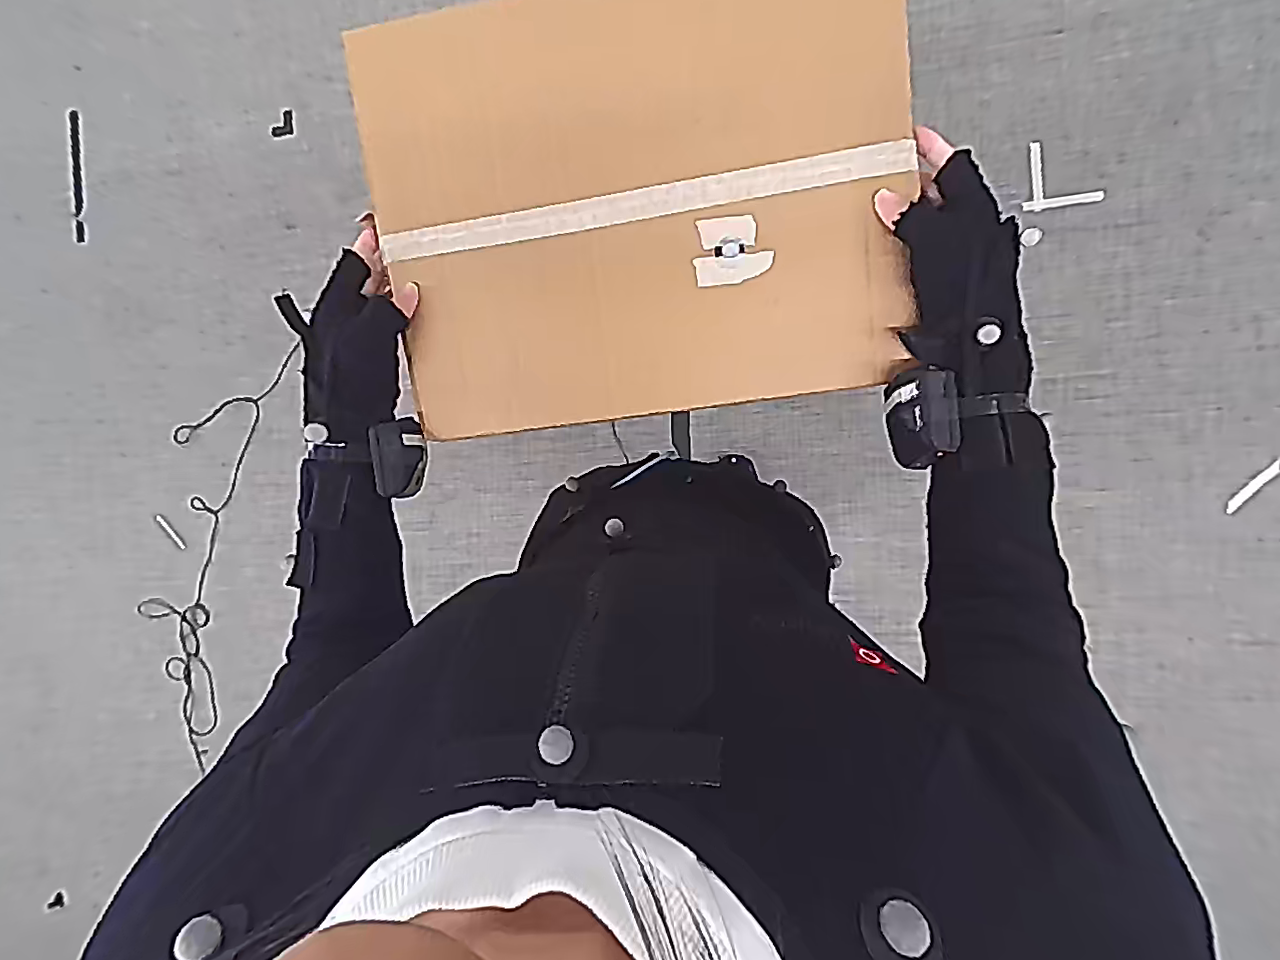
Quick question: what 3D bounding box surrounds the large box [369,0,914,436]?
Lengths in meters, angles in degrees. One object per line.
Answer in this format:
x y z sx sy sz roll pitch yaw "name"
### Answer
0.012 -0.236 0.571 0.408 0.320 0.320 -7 99 6 "large box"
